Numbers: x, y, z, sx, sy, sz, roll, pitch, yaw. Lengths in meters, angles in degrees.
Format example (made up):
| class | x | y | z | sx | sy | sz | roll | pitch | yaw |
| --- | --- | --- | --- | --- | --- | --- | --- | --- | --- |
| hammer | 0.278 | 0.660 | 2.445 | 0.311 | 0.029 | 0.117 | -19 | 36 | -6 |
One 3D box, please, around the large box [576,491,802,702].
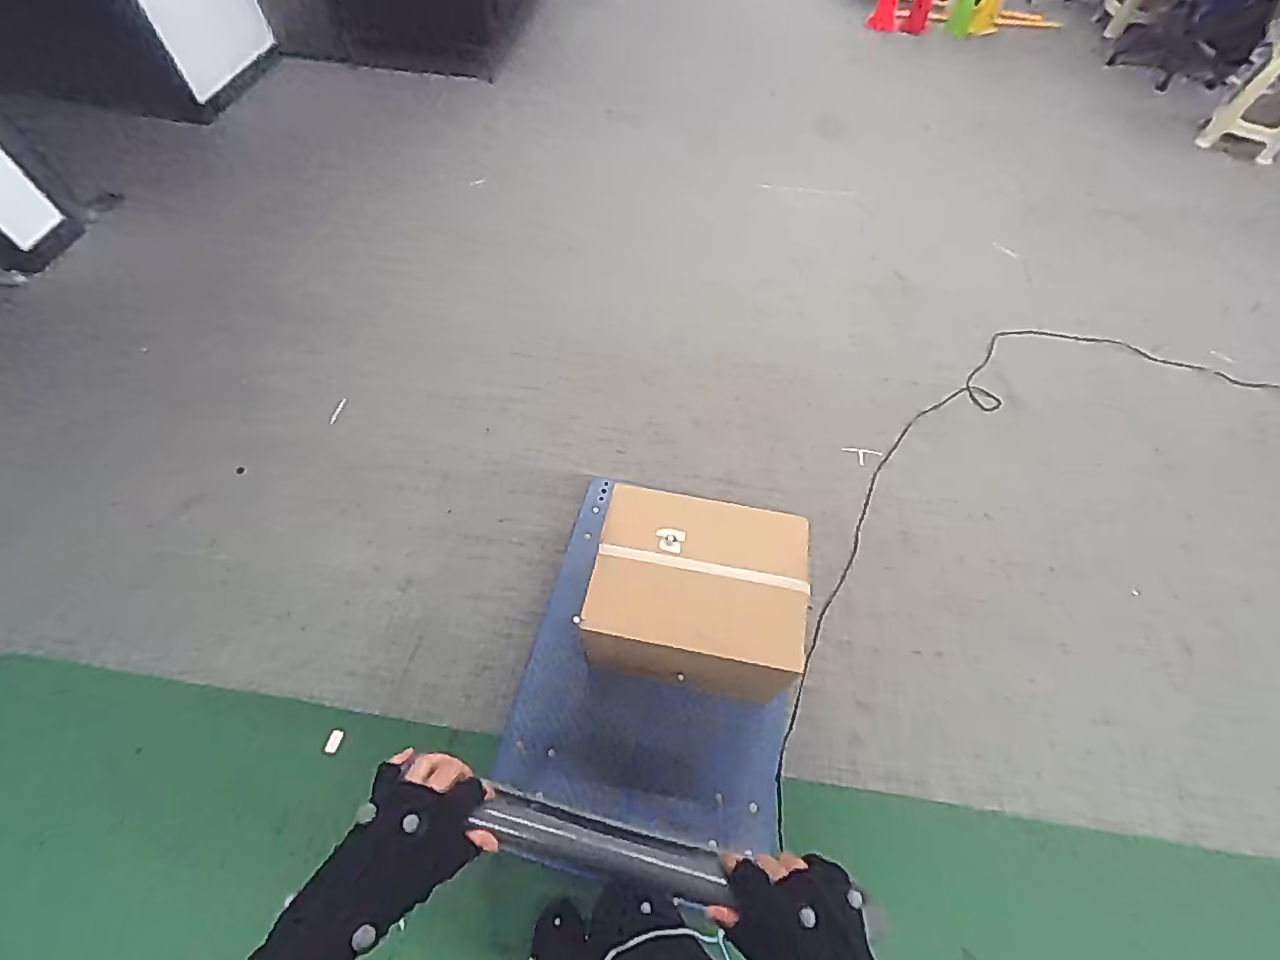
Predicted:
| class | x | y | z | sx | sy | sz | roll | pitch | yaw |
| --- | --- | --- | --- | --- | --- | --- | --- | --- | --- |
| large box | 0.108 | 0.257 | 1.156 | 0.408 | 0.320 | 0.320 | 10 | 57 | 6 |
